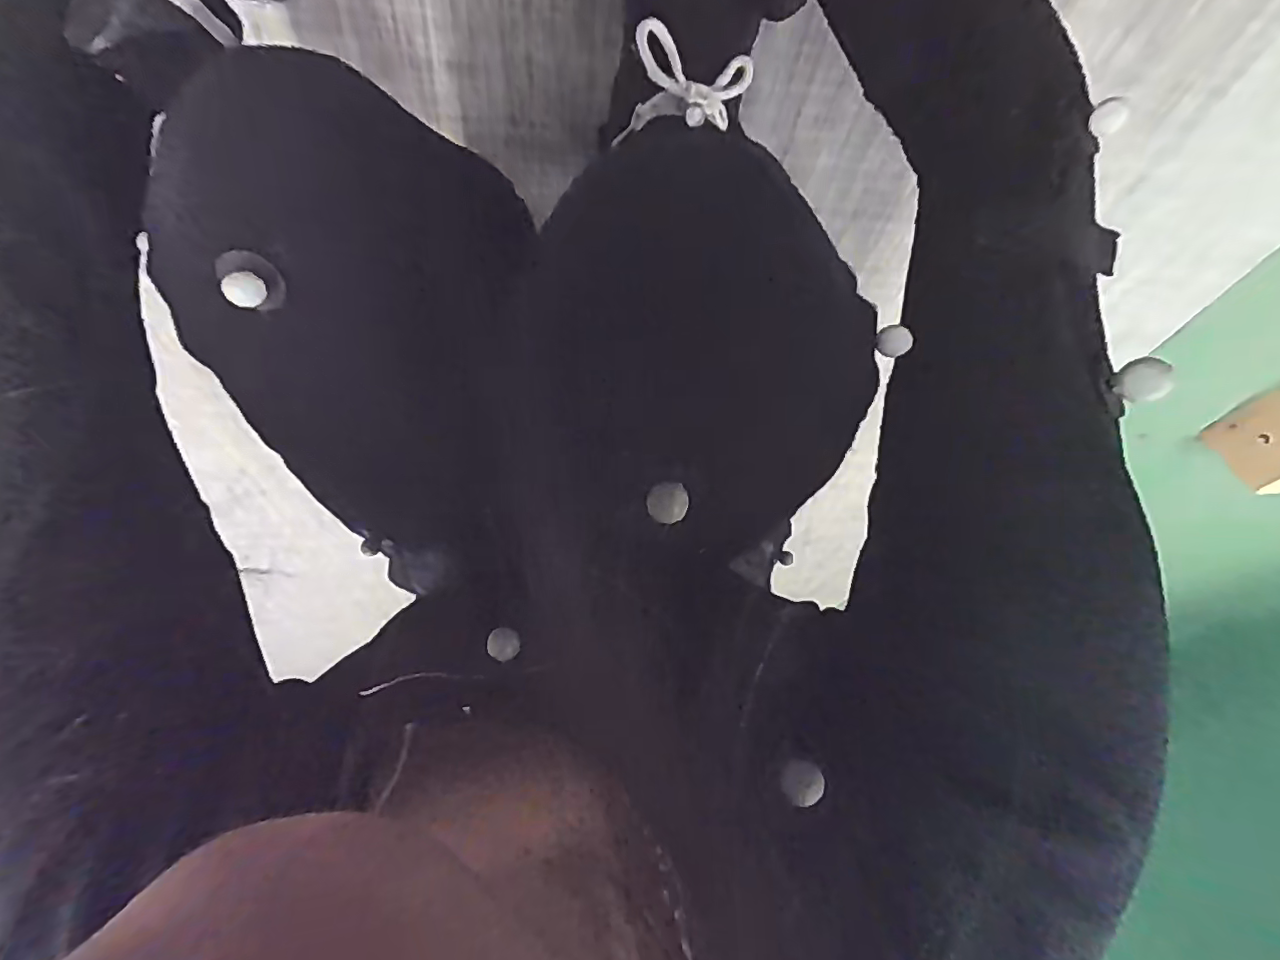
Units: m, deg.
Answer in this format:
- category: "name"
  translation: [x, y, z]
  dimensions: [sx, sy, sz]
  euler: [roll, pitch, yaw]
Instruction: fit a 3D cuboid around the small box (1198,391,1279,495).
- category: "small box"
  translation: [1.414, -0.084, 1.188]
  dimensions: [0.179, 0.176, 0.168]
  euler: [-4, 148, -11]
